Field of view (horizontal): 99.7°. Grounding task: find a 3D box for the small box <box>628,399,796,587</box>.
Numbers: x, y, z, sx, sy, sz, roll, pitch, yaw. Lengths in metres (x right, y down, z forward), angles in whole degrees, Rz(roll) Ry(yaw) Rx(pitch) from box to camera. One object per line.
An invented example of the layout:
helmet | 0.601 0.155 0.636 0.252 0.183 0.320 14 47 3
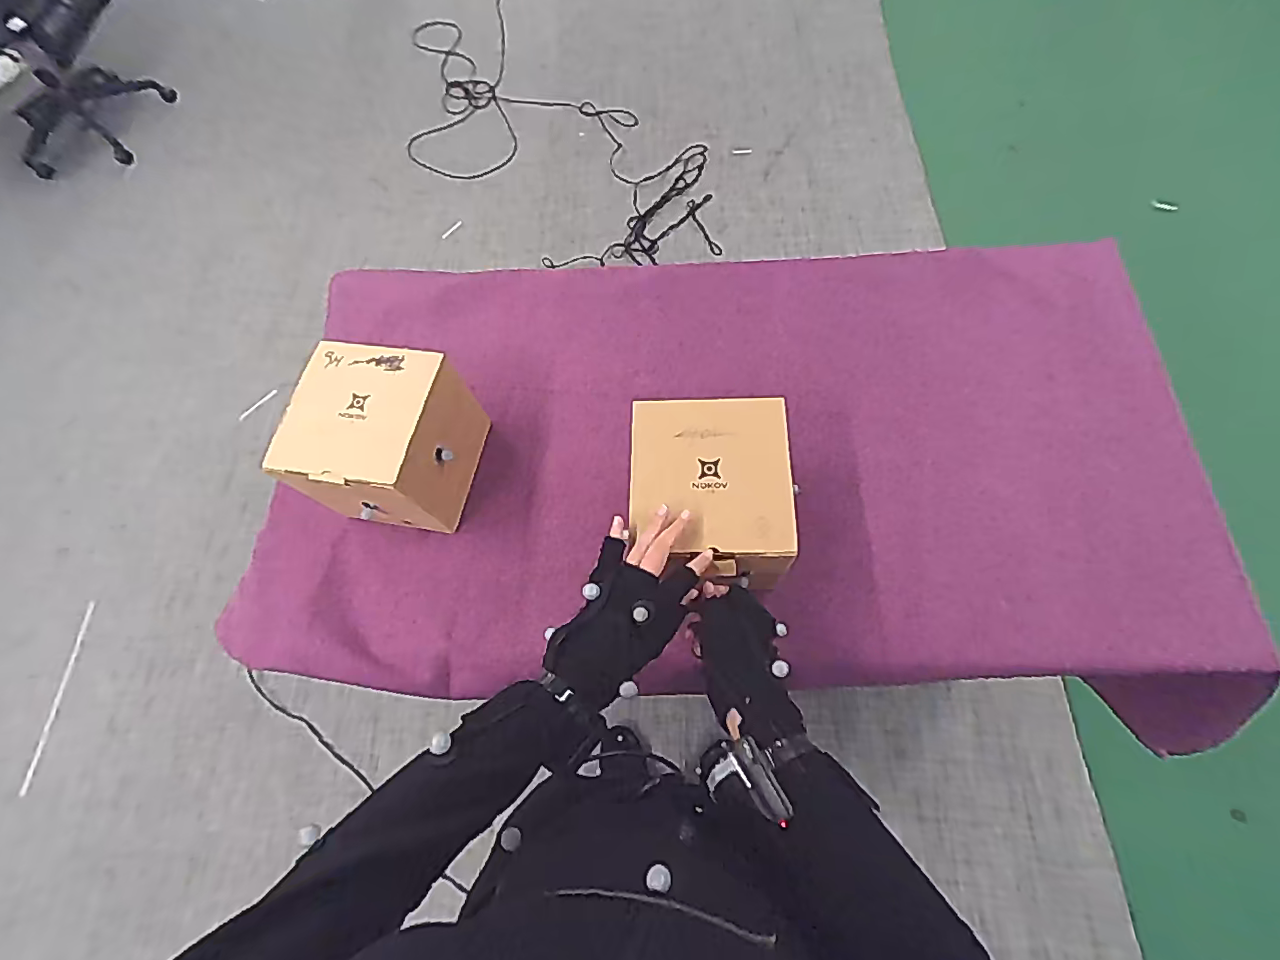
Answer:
small box | 0.079 0.024 0.627 0.168 0.176 0.179 0 67 5

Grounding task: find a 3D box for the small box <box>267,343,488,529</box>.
small box | -0.315 -0.048 0.693 0.168 0.176 0.179 8 69 8
